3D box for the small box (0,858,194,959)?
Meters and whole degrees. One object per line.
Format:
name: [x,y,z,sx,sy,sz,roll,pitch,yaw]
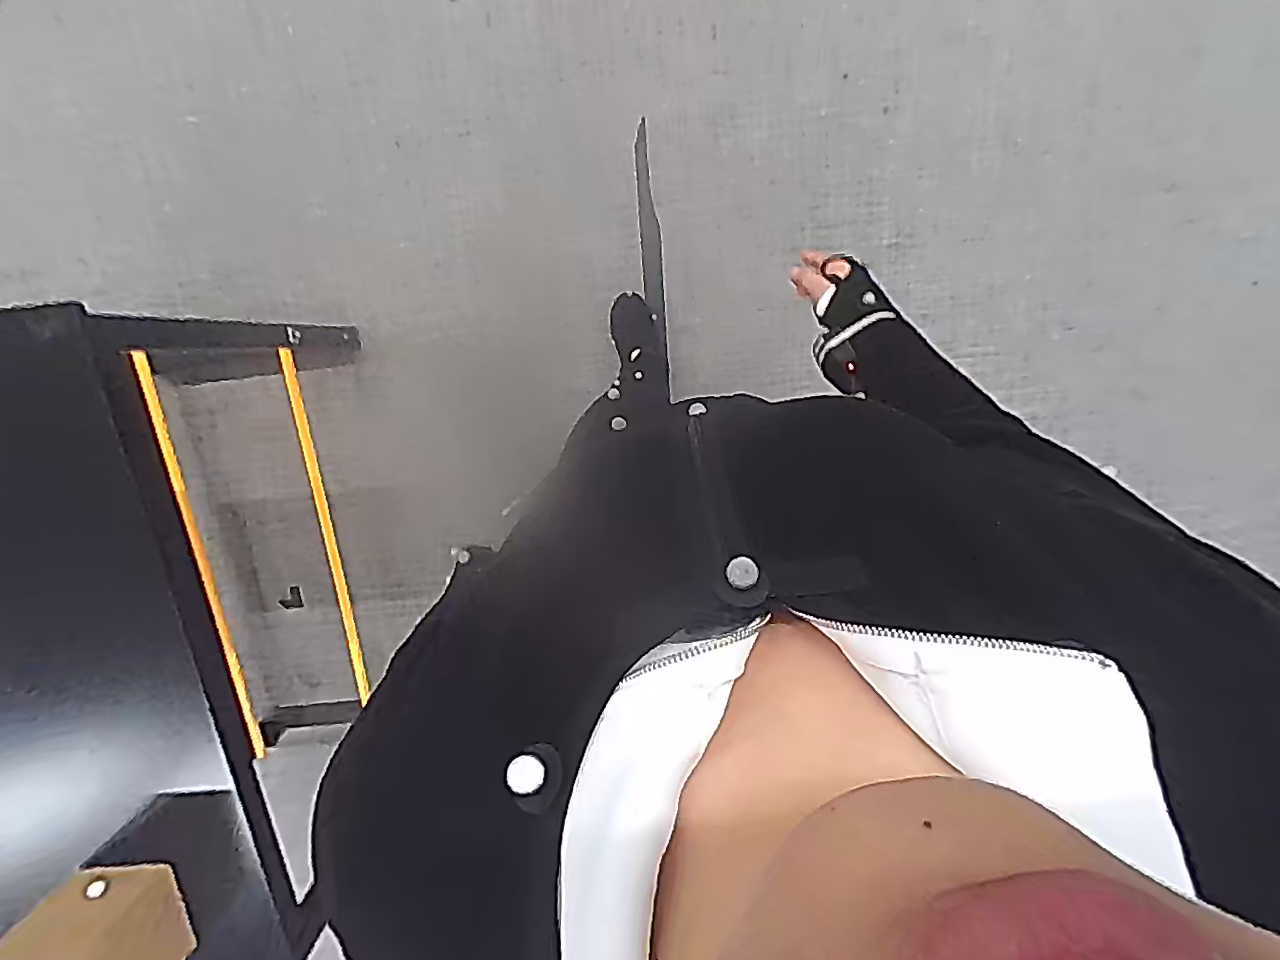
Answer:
small box: [-0.870,0.750,0.865,0.168,0.176,0.179,-5,103,2]
